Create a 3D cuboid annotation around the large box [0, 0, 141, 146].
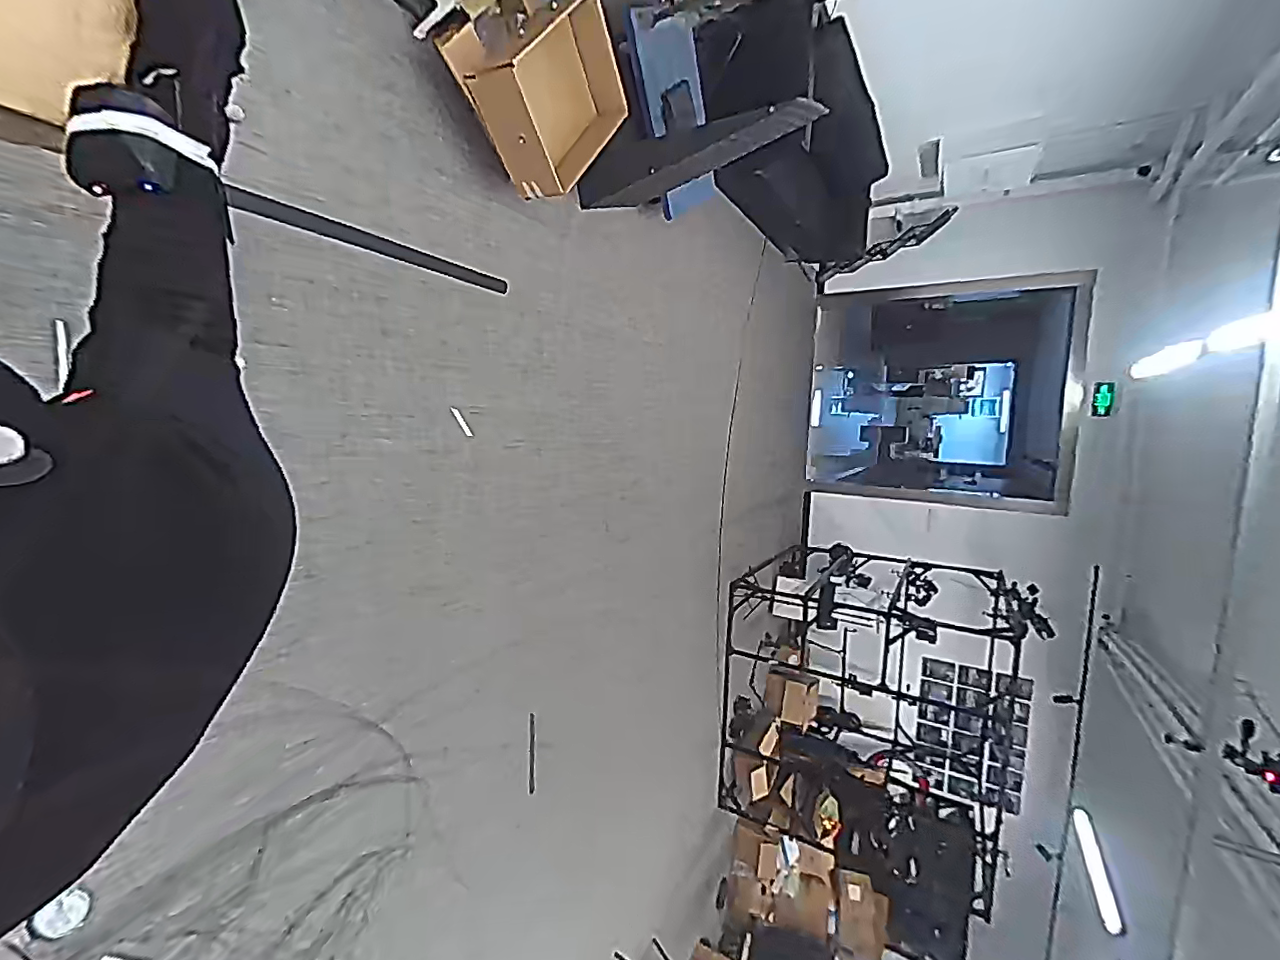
[{"bbox_3d":[-0.600,-0.447,0.305,0.408,0.320,0.320,-6,115,-61],"label":"large box"}]
